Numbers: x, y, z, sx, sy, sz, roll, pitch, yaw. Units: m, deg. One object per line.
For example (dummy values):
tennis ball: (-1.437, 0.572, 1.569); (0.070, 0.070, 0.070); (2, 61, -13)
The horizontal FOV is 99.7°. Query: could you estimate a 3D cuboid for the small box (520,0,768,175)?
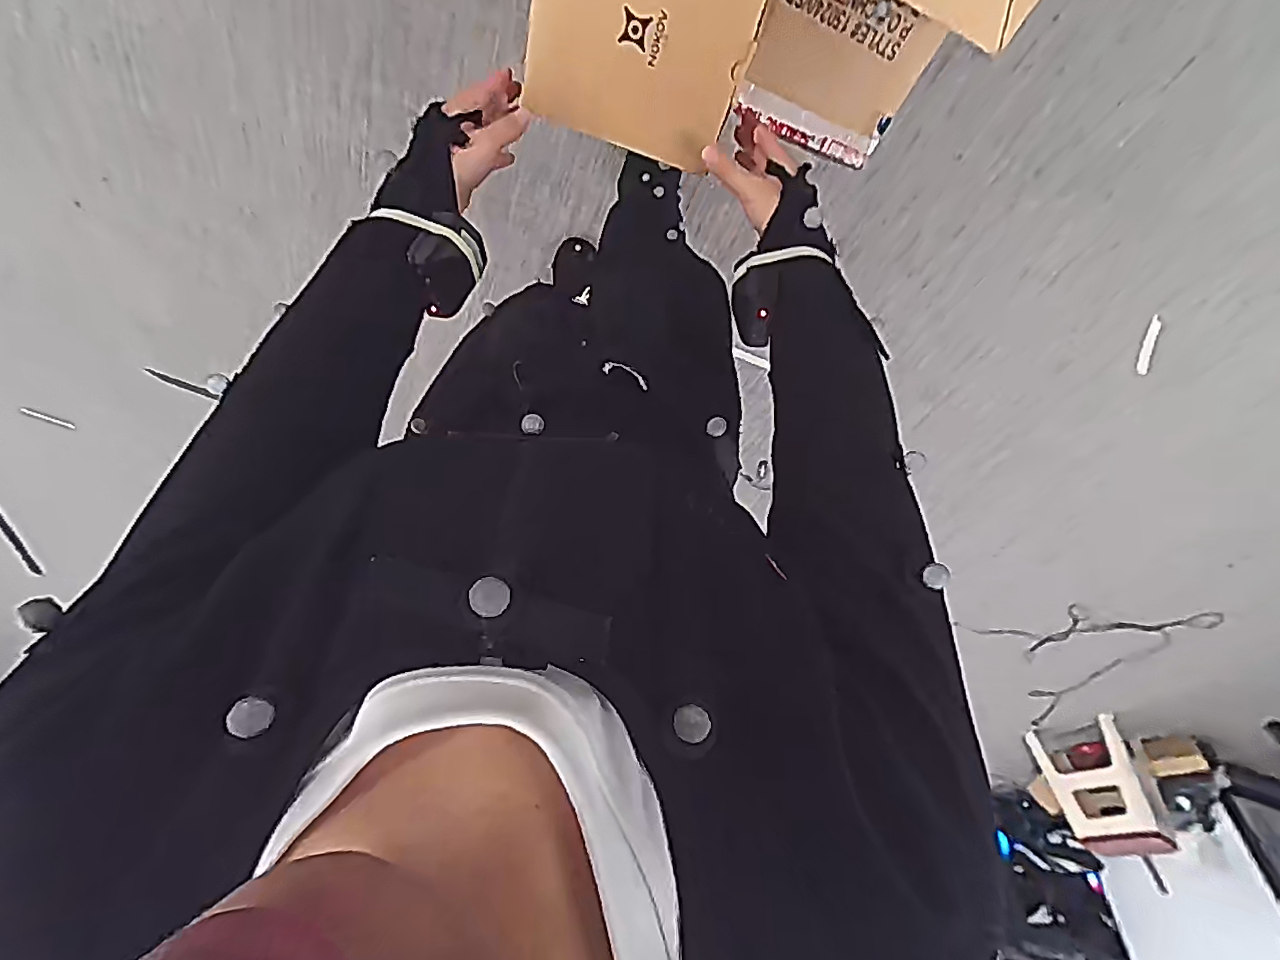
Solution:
small box: (0.010, -0.410, 0.476); (0.179, 0.176, 0.168); (16, 138, -8)
